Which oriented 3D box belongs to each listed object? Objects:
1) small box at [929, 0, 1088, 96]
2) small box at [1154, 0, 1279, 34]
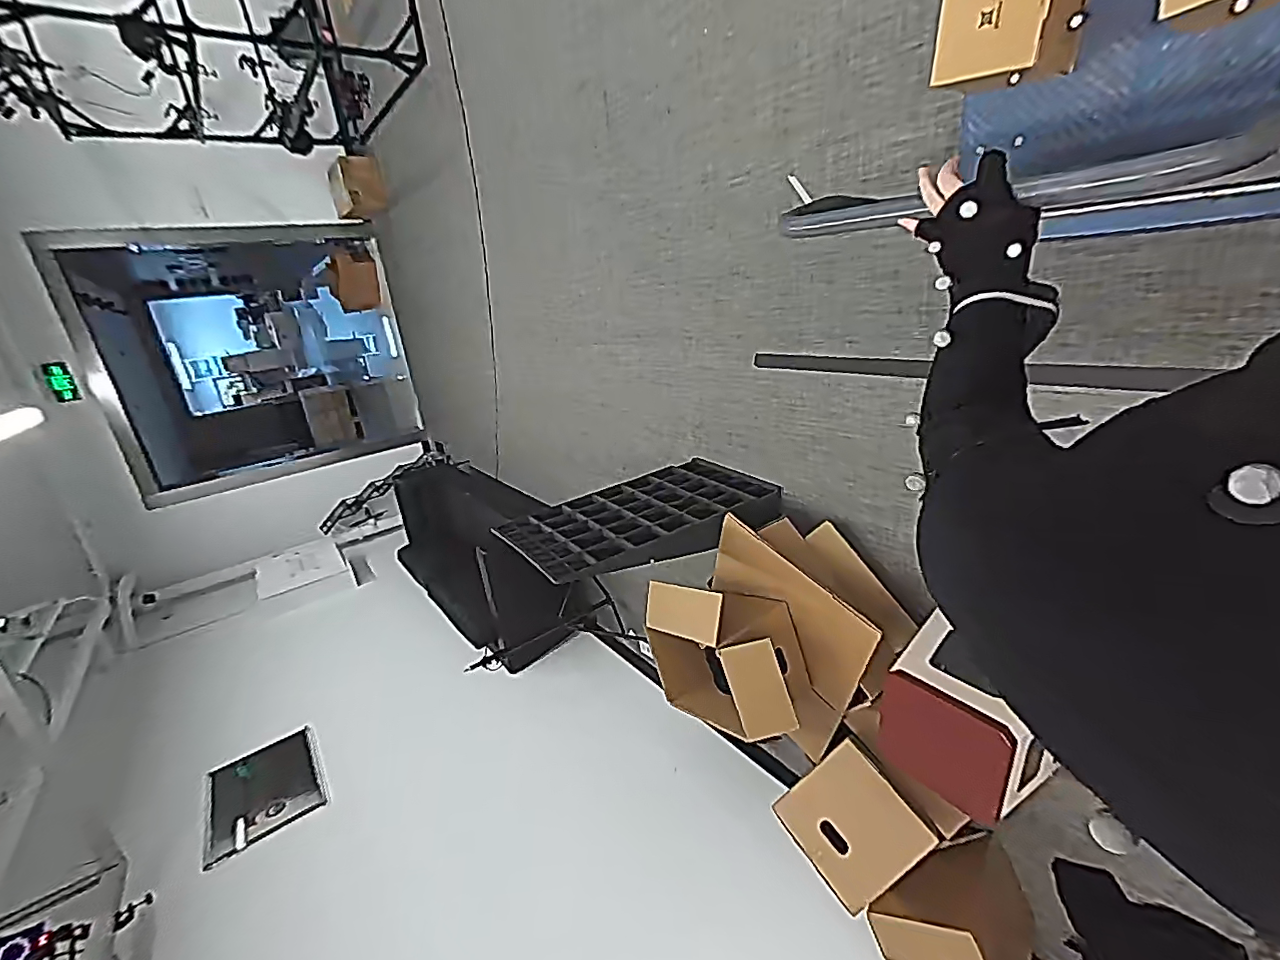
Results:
[{"bbox_3d":[0.653,-0.802,0.958,0.179,0.176,0.168,26,127,46],"label":"small box"},{"bbox_3d":[0.836,-0.735,0.719,0.179,0.176,0.168,16,120,53],"label":"small box"}]
